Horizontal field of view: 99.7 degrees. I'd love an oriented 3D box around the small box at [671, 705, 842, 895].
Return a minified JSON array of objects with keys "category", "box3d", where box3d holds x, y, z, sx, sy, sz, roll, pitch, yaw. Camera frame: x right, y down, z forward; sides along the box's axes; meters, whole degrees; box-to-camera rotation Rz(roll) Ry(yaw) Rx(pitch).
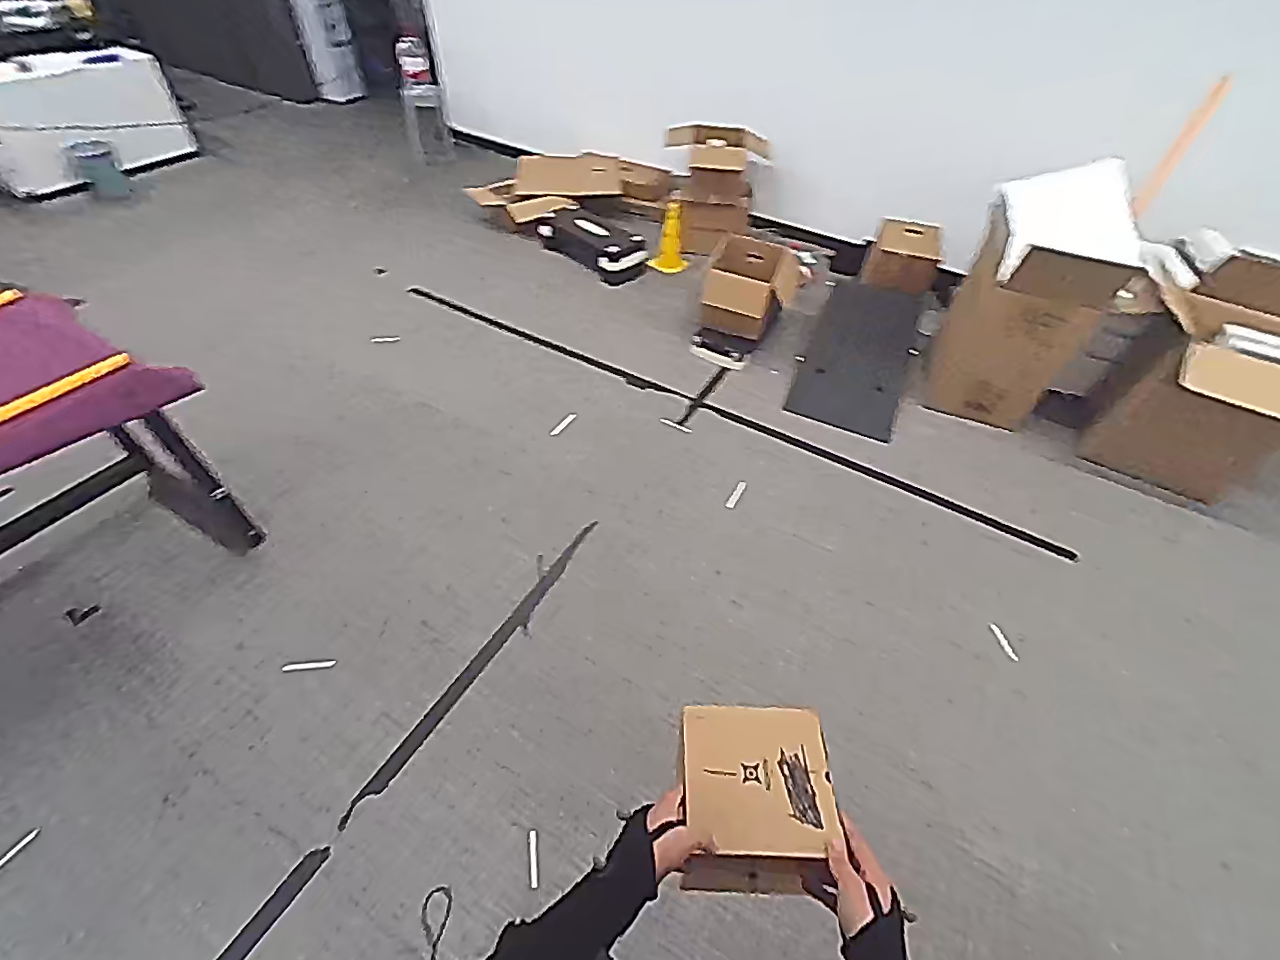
[{"category":"small box","box3d":[0.130,0.402,0.681,0.179,0.176,0.168,-1,41,1]}]
